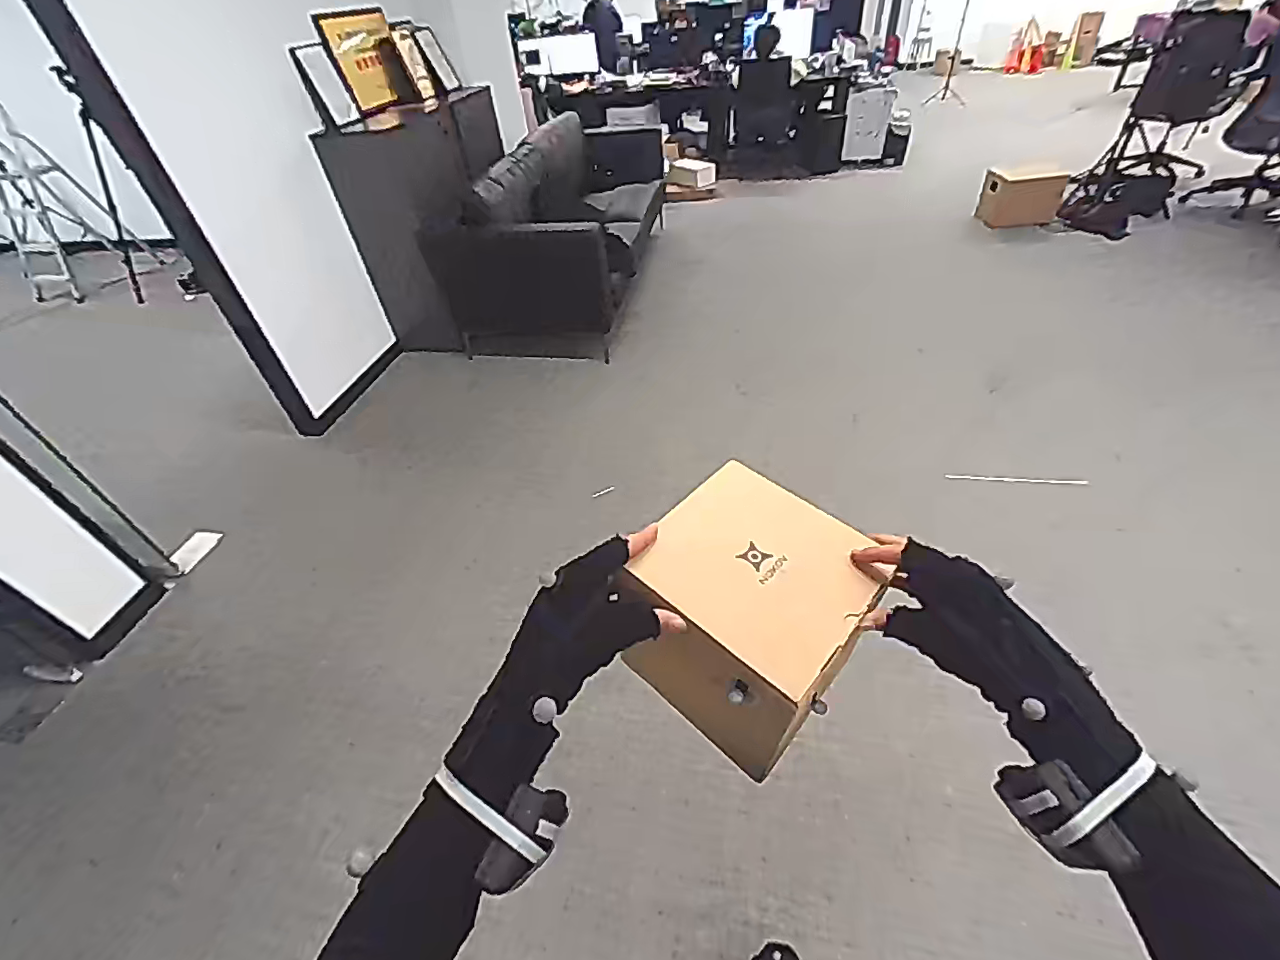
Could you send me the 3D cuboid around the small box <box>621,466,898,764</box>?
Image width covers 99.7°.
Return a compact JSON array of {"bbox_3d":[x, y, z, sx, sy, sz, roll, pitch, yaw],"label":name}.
[{"bbox_3d":[0.097,0.124,0.507,0.179,0.176,0.168,34,54,28],"label":"small box"}]
